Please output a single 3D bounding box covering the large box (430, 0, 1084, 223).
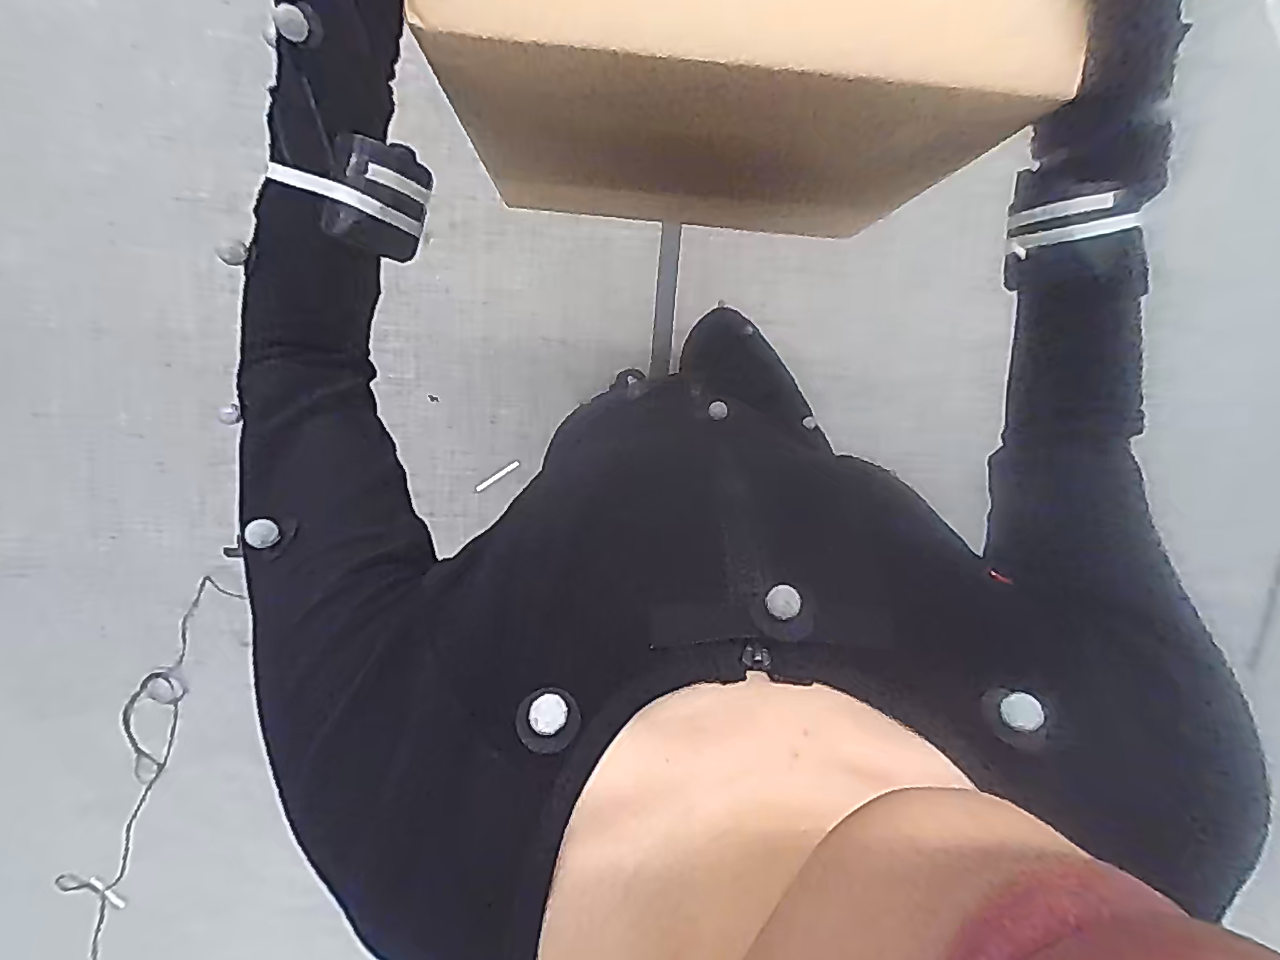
[{"bbox_3d":[0.069,-0.431,0.448,0.408,0.320,0.320,3,100,-5],"label":"large box"}]
